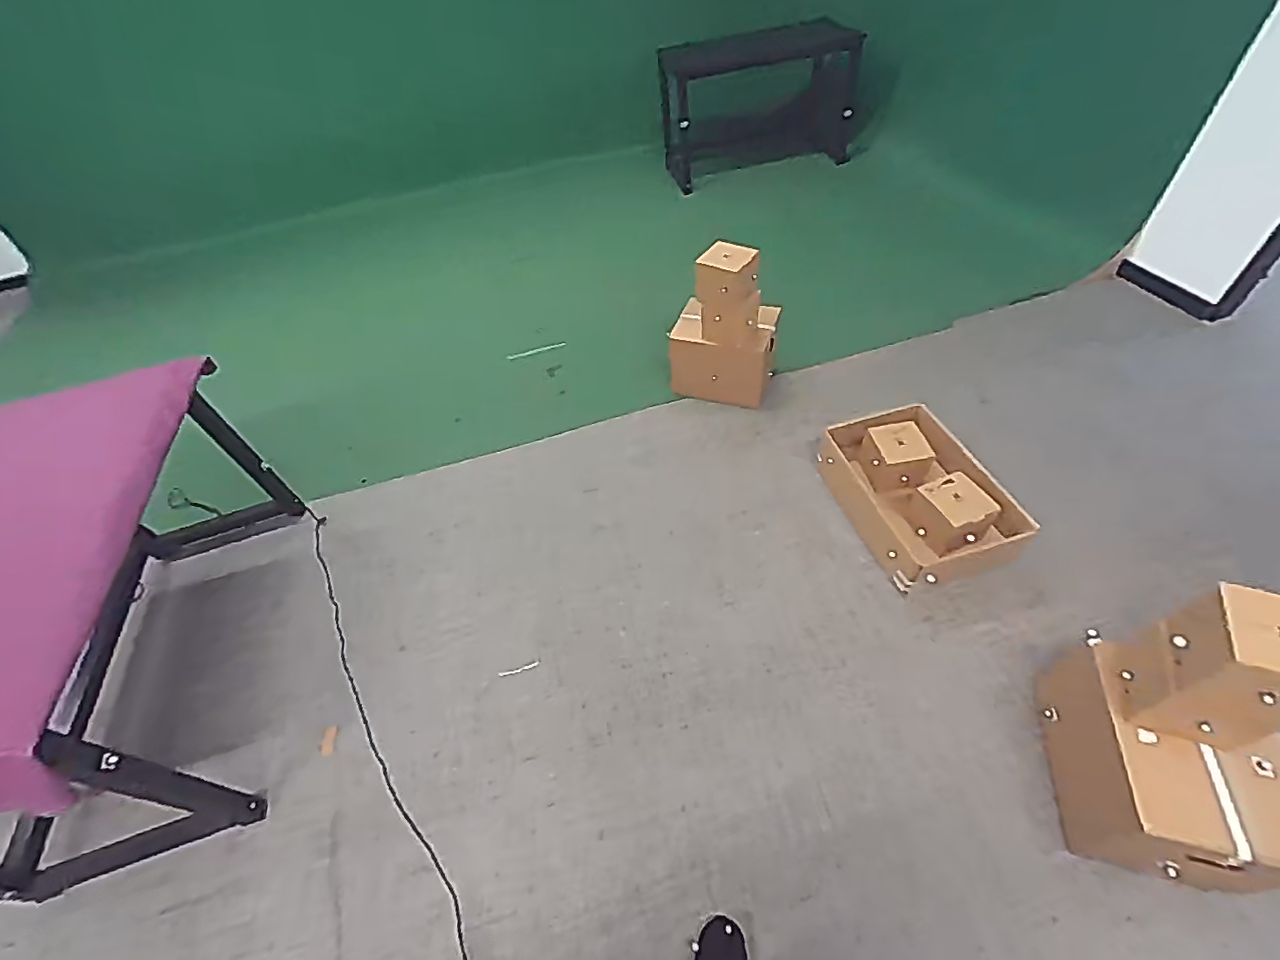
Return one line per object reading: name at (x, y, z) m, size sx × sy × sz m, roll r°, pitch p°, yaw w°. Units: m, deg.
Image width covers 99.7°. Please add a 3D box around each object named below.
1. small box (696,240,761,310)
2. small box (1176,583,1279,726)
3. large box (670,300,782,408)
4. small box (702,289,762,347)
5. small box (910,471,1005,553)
small box at (0.327, -0.751, 1.992) m, size 0.179 × 0.176 × 0.168 m, roll 27°, pitch 60°, yaw 28°
small box at (1.112, 0.315, 0.954) m, size 0.179 × 0.176 × 0.168 m, roll 15°, pitch 54°, yaw 23°
large box at (0.378, -0.546, 2.347) m, size 0.408 × 0.320 × 0.320 m, roll 13°, pitch 52°, yaw 19°
small box at (0.362, -0.644, 2.112) m, size 0.179 × 0.176 × 0.168 m, roll 23°, pitch 59°, yaw 26°
small box at (0.994, 0.109, 1.711) m, size 0.168 × 0.176 × 0.179 m, roll -20°, pitch 50°, yaw -8°
